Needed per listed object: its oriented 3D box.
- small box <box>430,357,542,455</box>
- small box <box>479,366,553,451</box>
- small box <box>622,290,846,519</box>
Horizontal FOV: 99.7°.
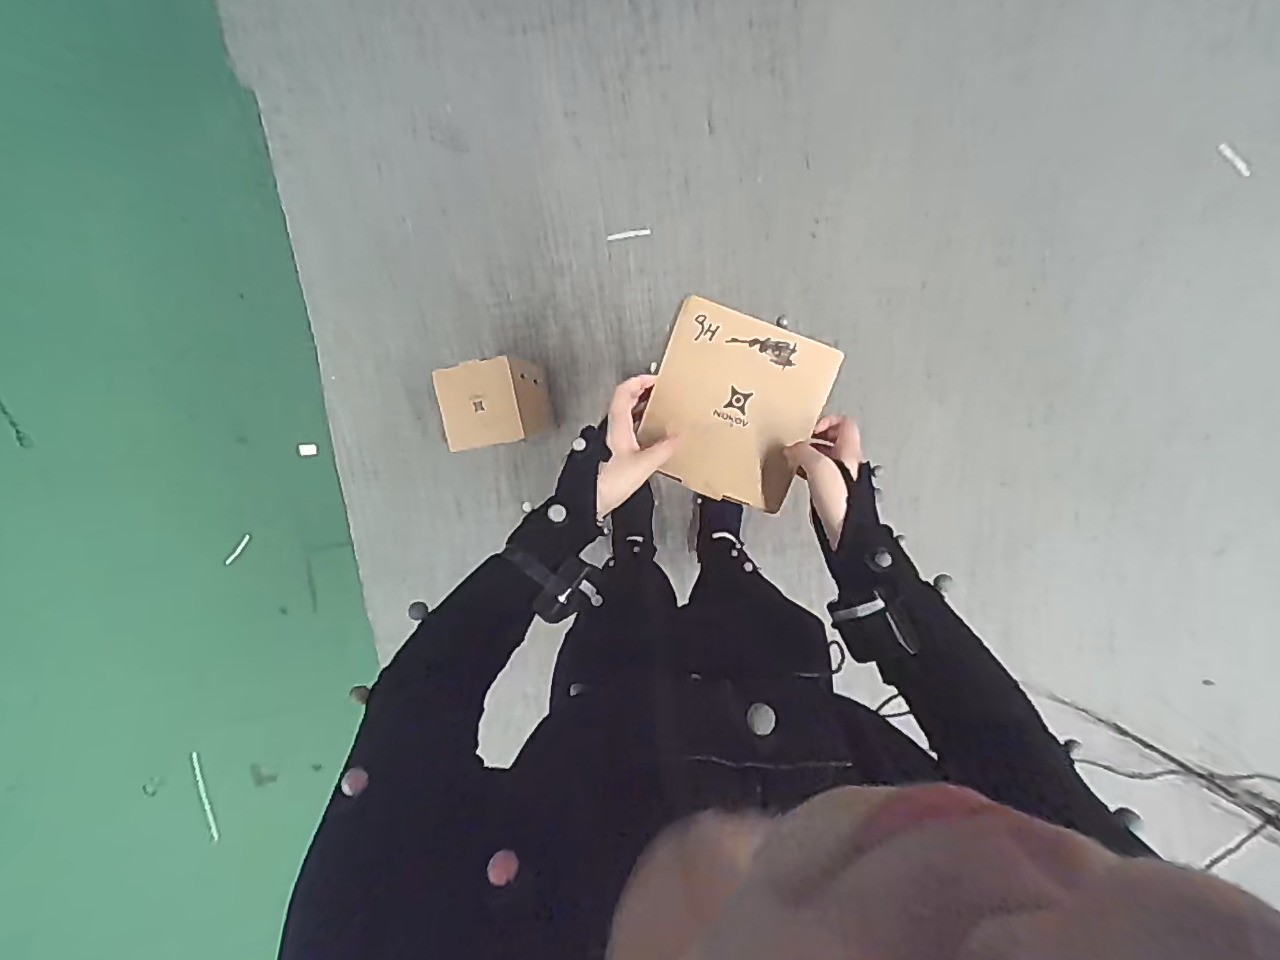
[{"bbox_3d":[-0.326,-0.159,1.176,0.168,0.176,0.179,-11,97,6],"label":"small box"},{"bbox_3d":[-0.324,-0.175,1.339,0.168,0.176,0.179,-11,97,4],"label":"small box"},{"bbox_3d":[0.090,-0.083,0.594,0.168,0.176,0.179,21,101,-3],"label":"small box"}]
